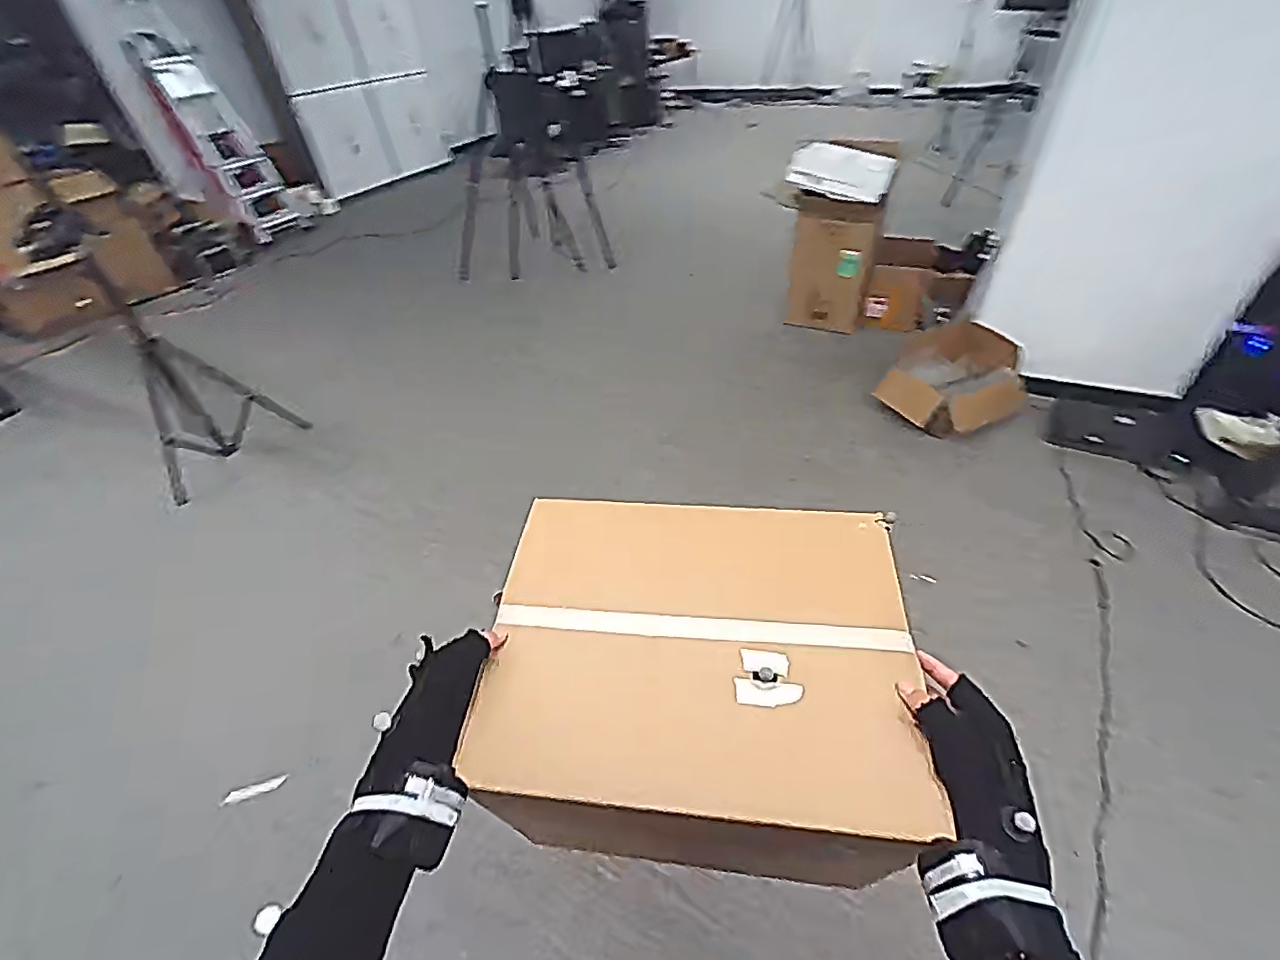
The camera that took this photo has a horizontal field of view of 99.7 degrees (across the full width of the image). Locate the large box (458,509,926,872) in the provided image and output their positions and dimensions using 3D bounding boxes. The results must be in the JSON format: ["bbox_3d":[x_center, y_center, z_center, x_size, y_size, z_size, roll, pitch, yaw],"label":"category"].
[{"bbox_3d":[0.056,0.254,0.660,0.408,0.320,0.320,2,49,7],"label":"large box"}]
